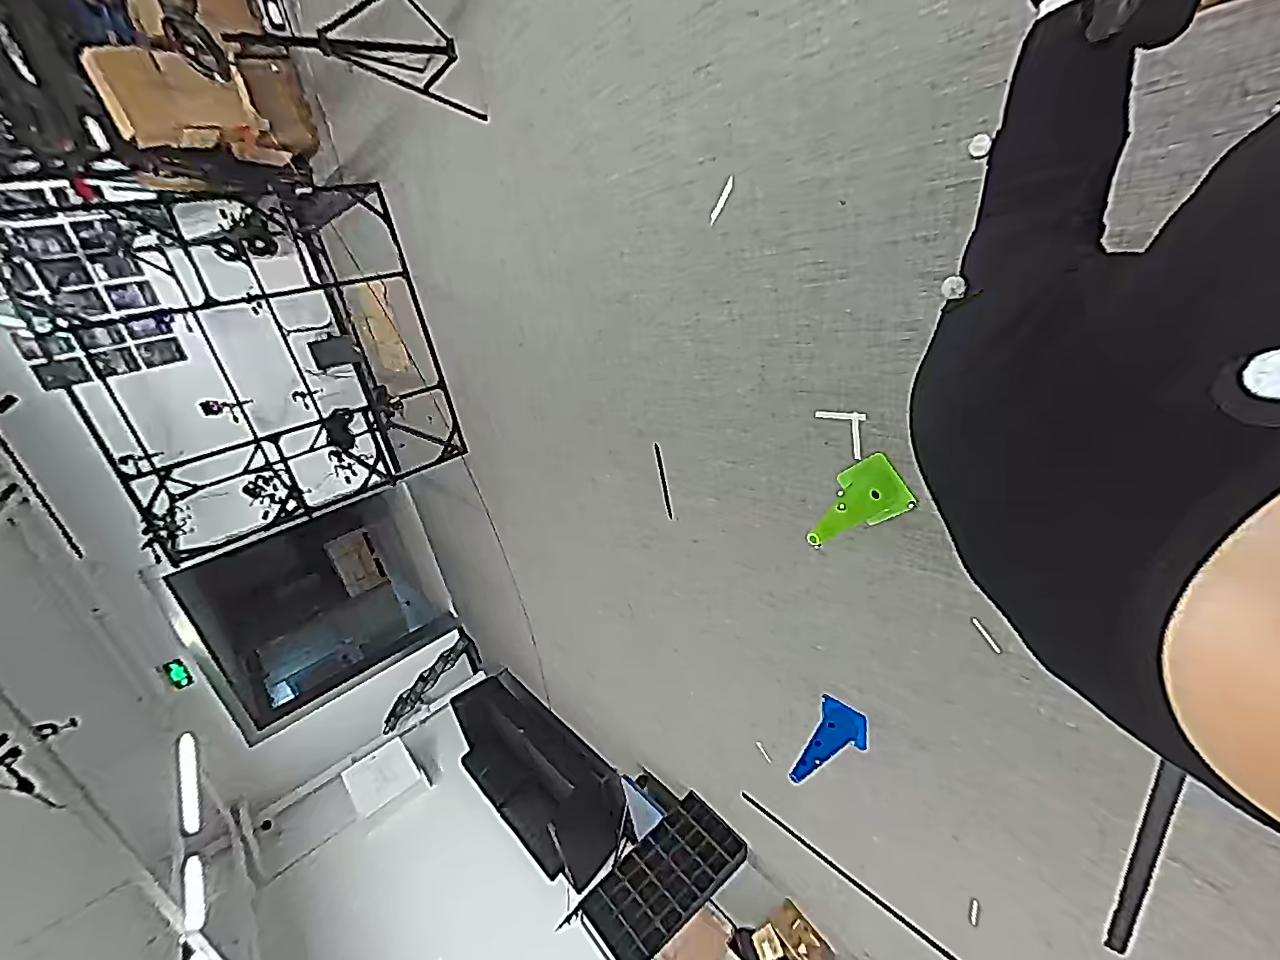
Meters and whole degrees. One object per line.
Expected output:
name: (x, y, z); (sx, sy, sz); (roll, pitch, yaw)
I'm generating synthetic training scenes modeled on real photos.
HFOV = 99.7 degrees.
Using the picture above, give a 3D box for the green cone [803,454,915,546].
green cone: (0.618, 0.097, 1.630); (0.200, 0.368, 0.202); (58, 148, 9)

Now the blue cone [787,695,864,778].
blue cone: (0.730, 1.075, 2.188); (0.192, 0.380, 0.193); (21, 129, 47)
